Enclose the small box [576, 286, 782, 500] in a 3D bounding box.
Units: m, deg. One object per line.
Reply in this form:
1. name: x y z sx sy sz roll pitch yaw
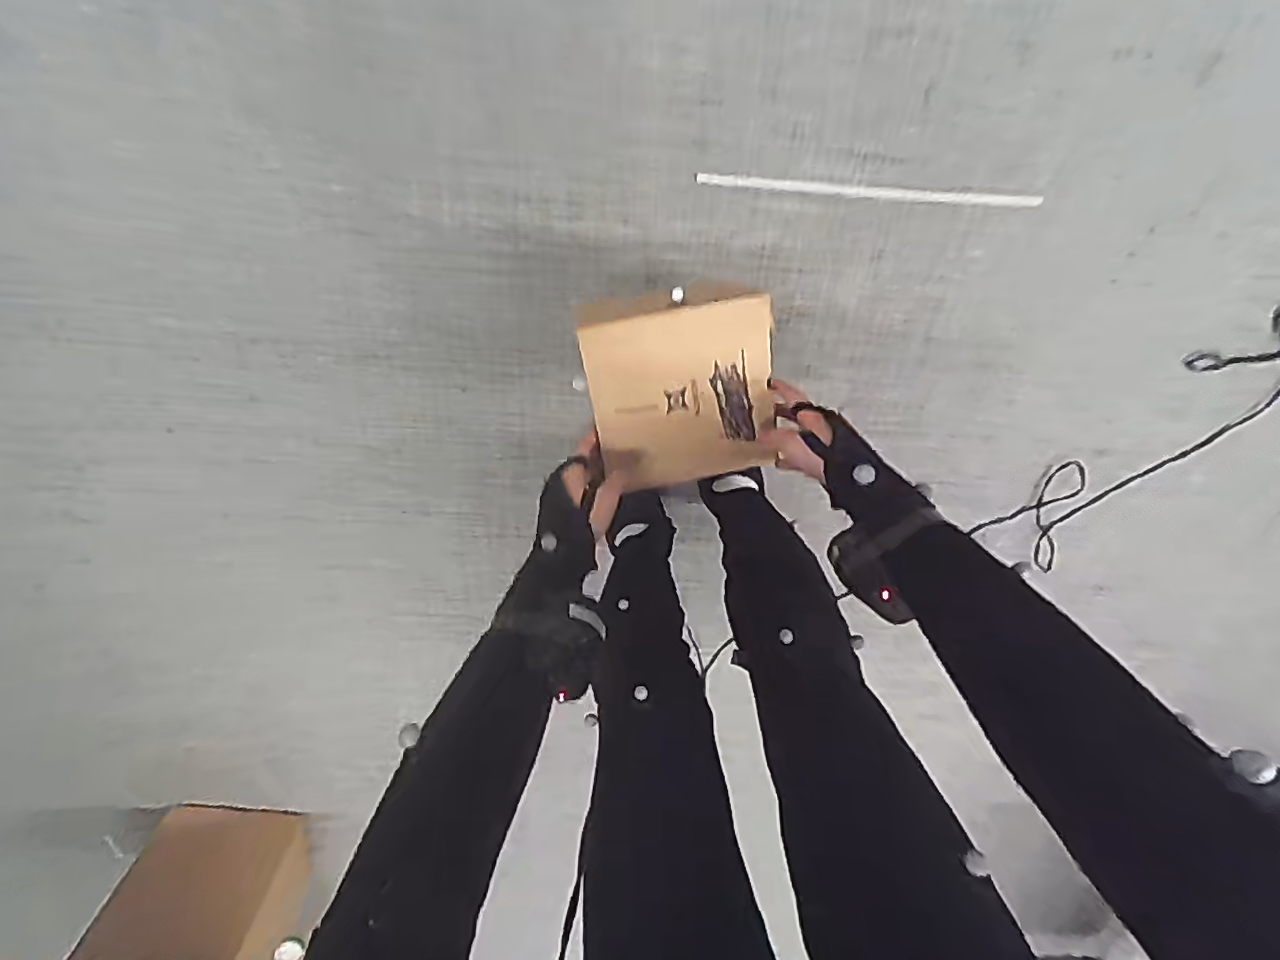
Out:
1. small box: 0.033 -0.101 0.568 0.179 0.176 0.168 -12 114 -1
